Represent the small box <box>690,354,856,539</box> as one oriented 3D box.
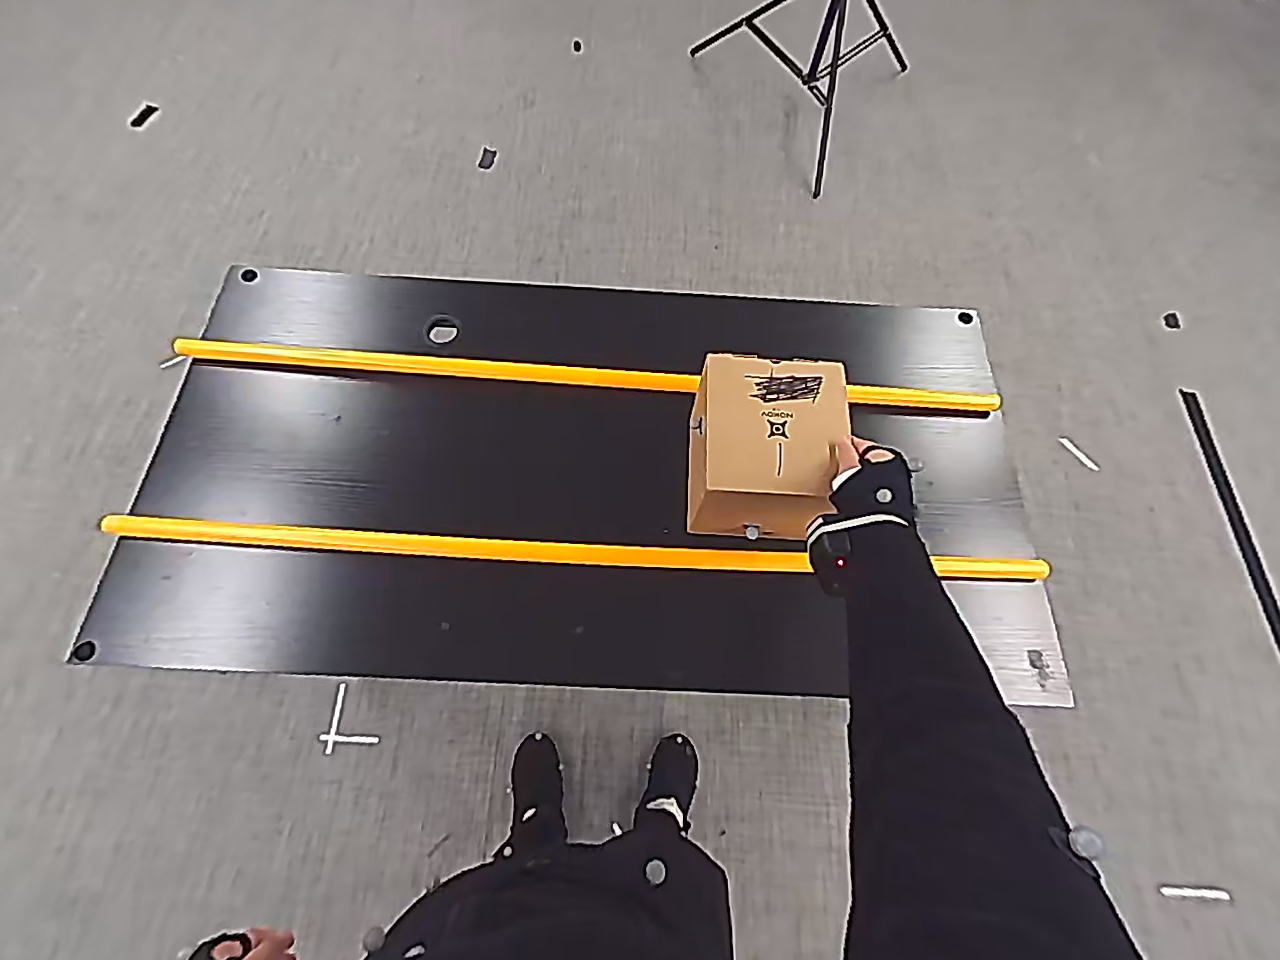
[{"bbox_3d":[0.156,-0.036,0.689,0.168,0.176,0.179,4,68,0],"label":"small box"}]
